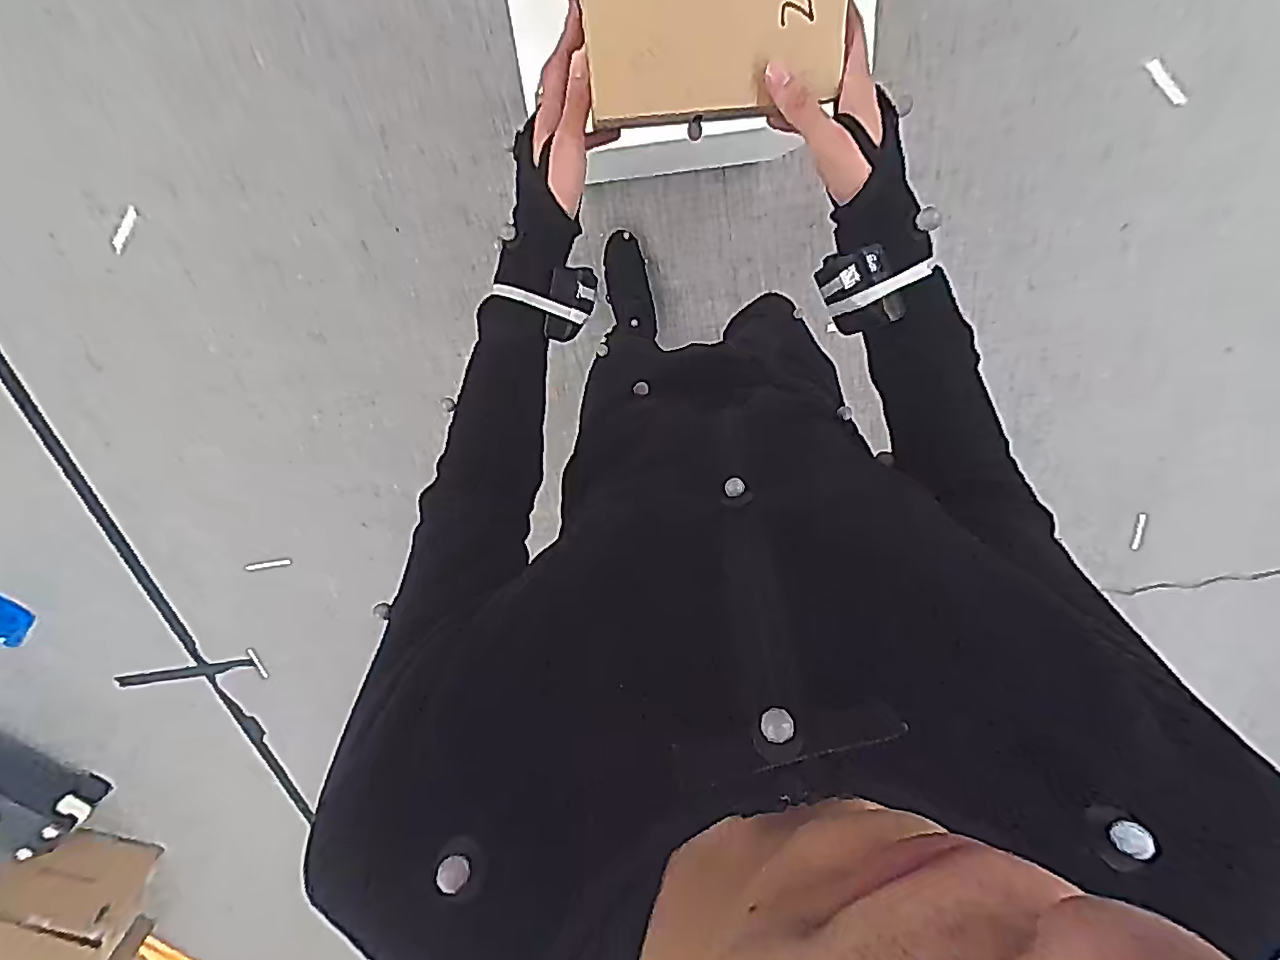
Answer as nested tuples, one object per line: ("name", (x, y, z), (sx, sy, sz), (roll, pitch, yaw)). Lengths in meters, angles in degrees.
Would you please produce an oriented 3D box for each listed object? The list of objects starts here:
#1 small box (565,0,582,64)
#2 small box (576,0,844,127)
("small box", (-0.011, -0.648, 0.680), (0.179, 0.176, 0.168), (-10, 114, 1))
("small box", (0.040, -0.371, 0.405), (0.179, 0.176, 0.168), (-6, 121, -3))
